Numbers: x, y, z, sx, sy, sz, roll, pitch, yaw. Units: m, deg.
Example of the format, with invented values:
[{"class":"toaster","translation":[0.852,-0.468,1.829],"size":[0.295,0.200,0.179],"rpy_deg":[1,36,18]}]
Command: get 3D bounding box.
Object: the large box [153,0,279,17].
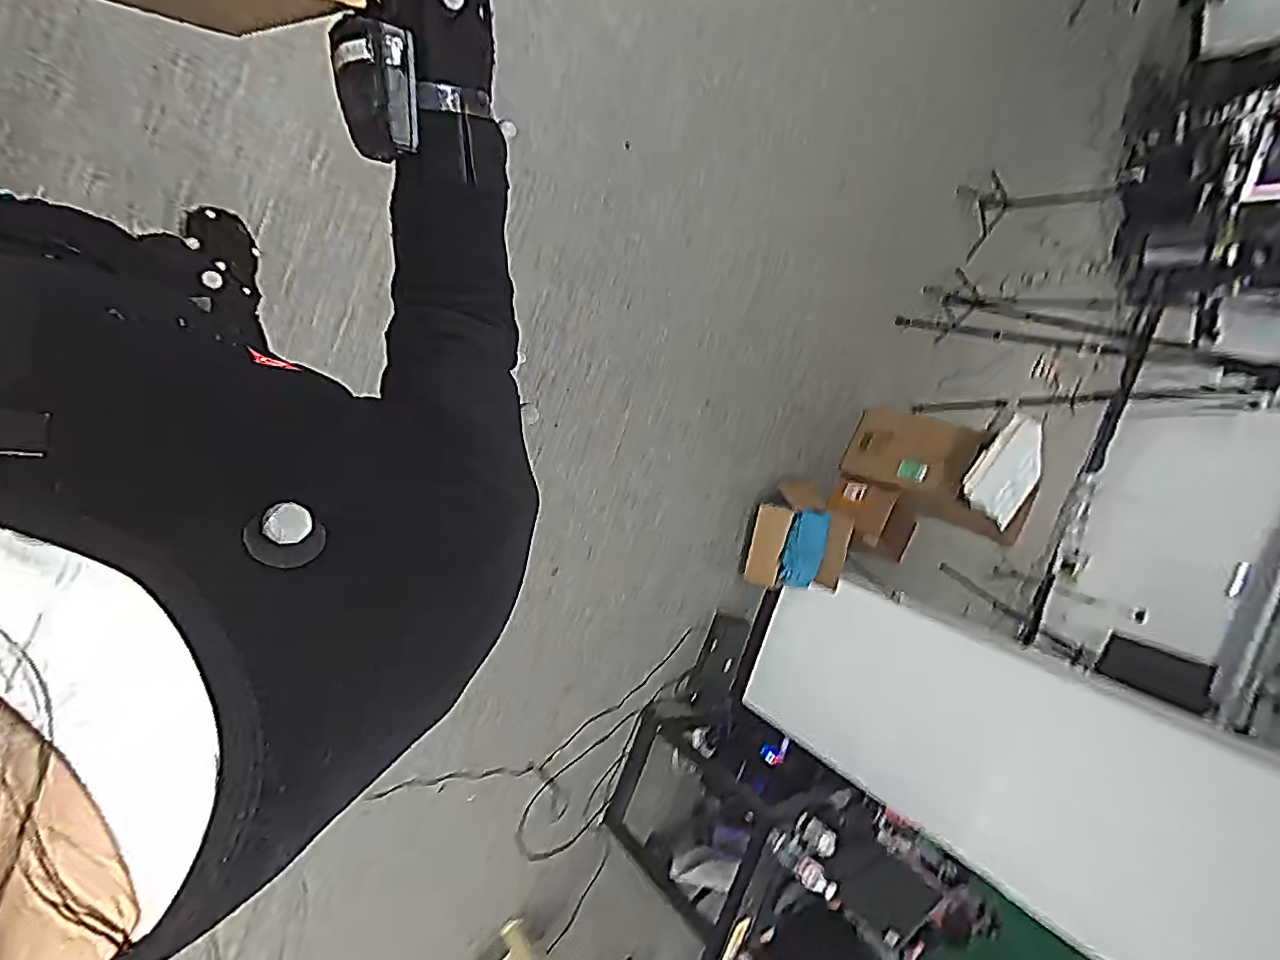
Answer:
[{"class":"large box","translation":[-0.380,-0.425,0.187],"size":[0.408,0.320,0.320],"rpy_deg":[-17,129,-42]}]
